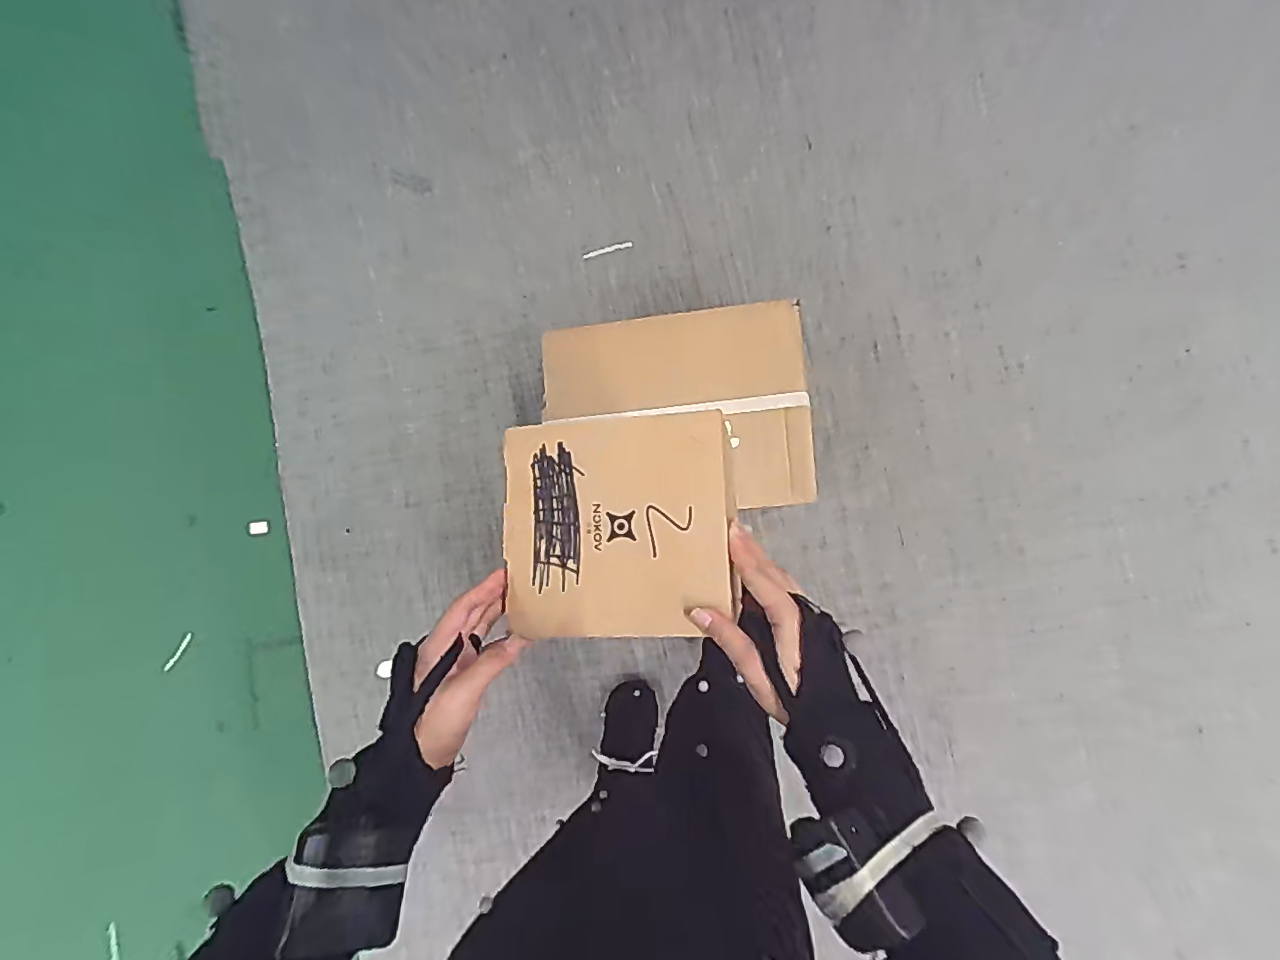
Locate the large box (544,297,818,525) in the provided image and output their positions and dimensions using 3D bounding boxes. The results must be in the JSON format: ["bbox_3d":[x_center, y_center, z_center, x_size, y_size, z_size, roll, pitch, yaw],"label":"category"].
[{"bbox_3d":[0.074,-0.097,0.982,0.408,0.320,0.320,-6,88,8],"label":"large box"}]
